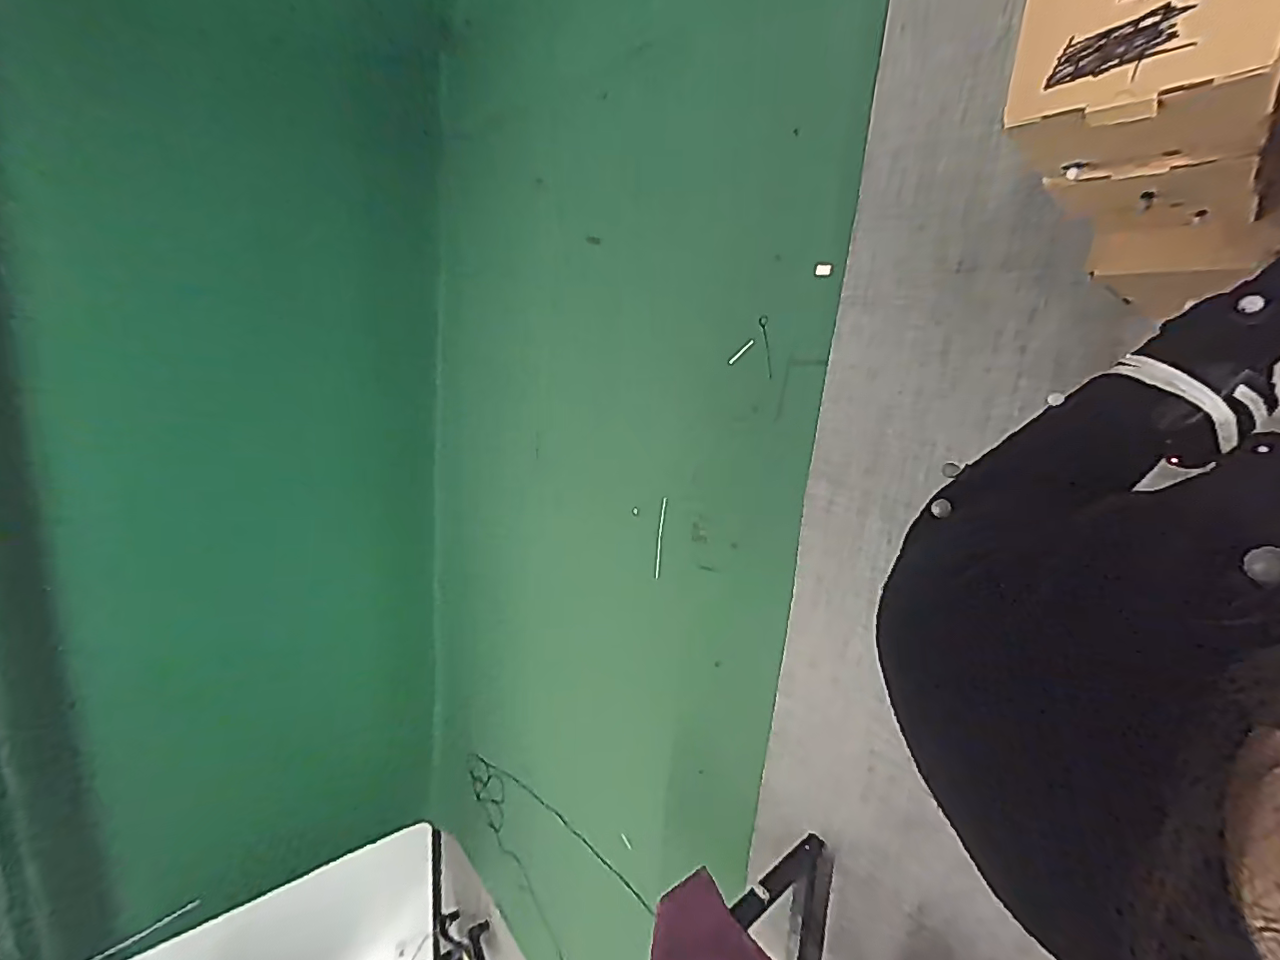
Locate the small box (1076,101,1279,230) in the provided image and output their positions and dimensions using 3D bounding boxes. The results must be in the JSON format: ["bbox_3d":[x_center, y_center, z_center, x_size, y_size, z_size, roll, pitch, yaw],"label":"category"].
[{"bbox_3d":[0.691,-0.425,0.682,0.168,0.176,0.179,20,110,44],"label":"small box"}]

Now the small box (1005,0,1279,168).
[{"bbox_3d":[0.448,-0.391,0.464,0.168,0.176,0.179,17,107,45],"label":"small box"}]
